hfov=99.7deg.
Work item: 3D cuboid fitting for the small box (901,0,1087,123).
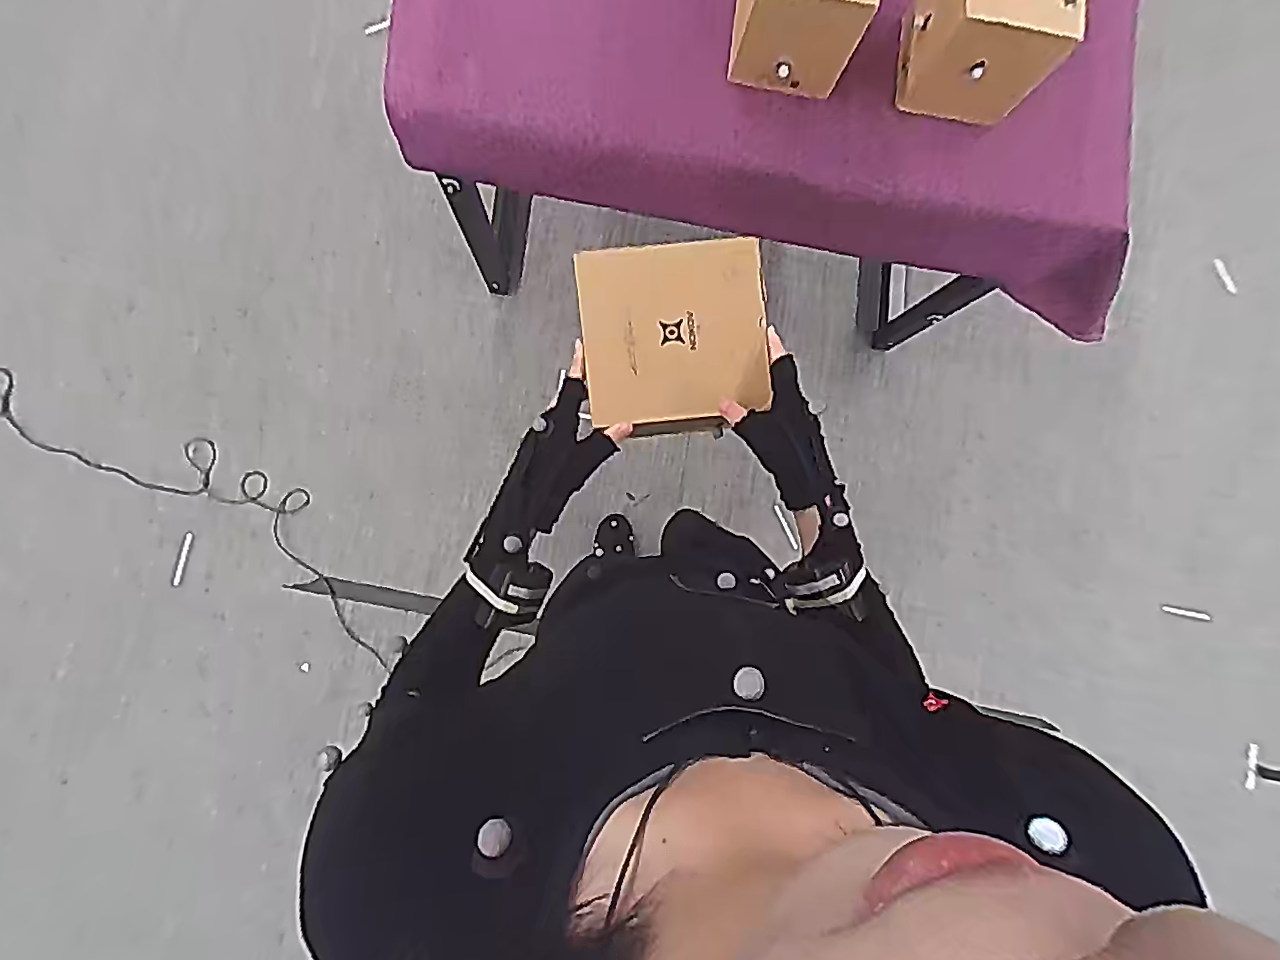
[{"bbox_3d":[0.520,-0.678,0.812,0.179,0.176,0.168,7,85,-3],"label":"small box"}]

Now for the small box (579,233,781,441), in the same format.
[{"bbox_3d":[0.035,-0.138,0.580,0.179,0.176,0.168,-7,87,-1],"label":"small box"}]

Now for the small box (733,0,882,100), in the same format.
[{"bbox_3d":[0.241,-0.712,0.792,0.168,0.176,0.179,7,86,-4],"label":"small box"}]
